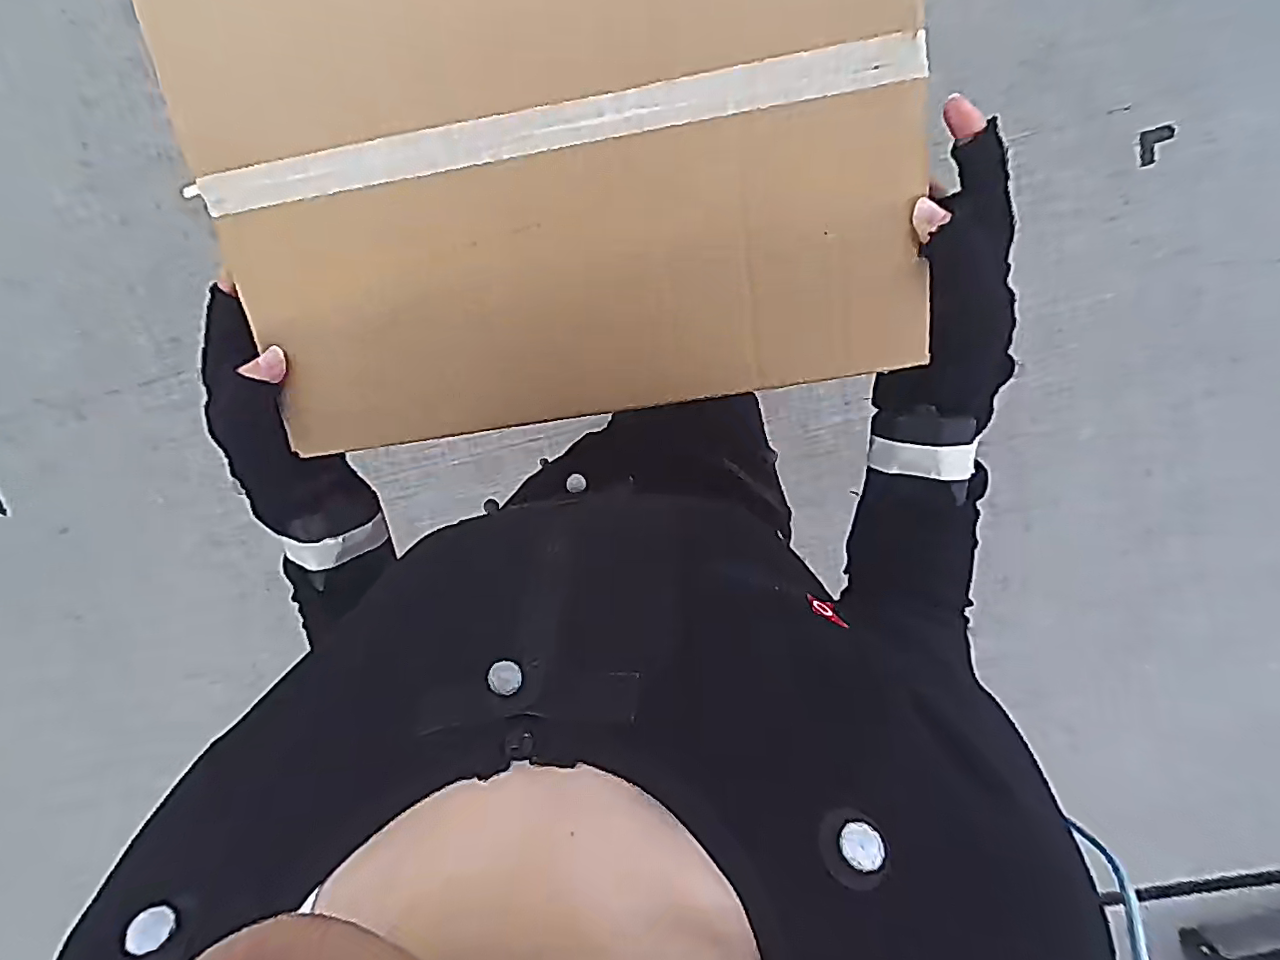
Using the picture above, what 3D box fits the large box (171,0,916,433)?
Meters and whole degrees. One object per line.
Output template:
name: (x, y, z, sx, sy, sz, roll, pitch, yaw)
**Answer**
large box: (-0.046, -0.246, 0.451, 0.408, 0.320, 0.320, -8, 107, 5)
